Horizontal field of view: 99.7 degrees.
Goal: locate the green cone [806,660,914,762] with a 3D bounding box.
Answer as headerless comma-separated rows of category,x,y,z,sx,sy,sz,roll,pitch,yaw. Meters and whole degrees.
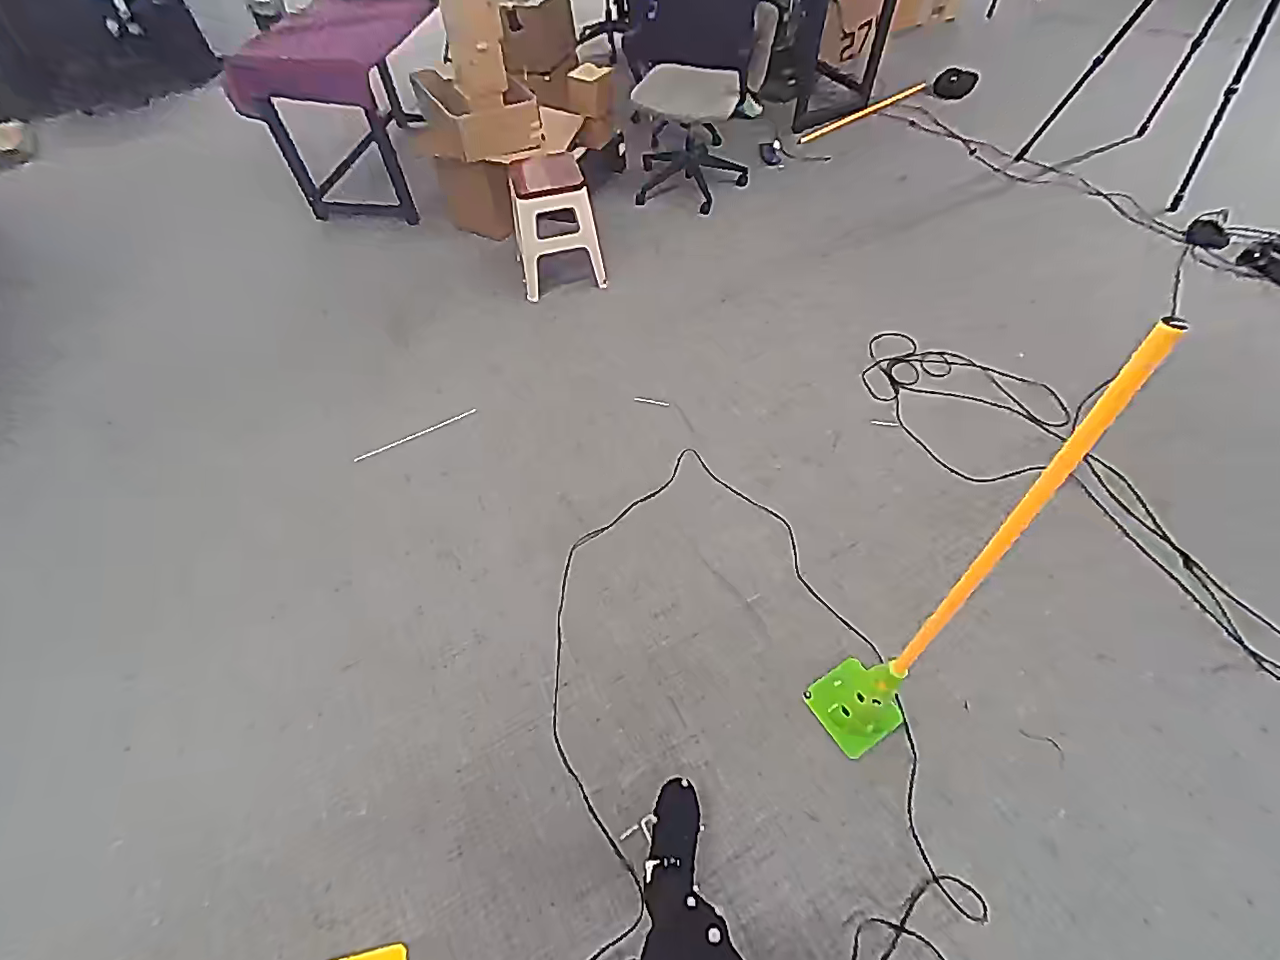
green cone,0.572,0.516,1.306,0.202,0.368,0.200,-28,59,-18
